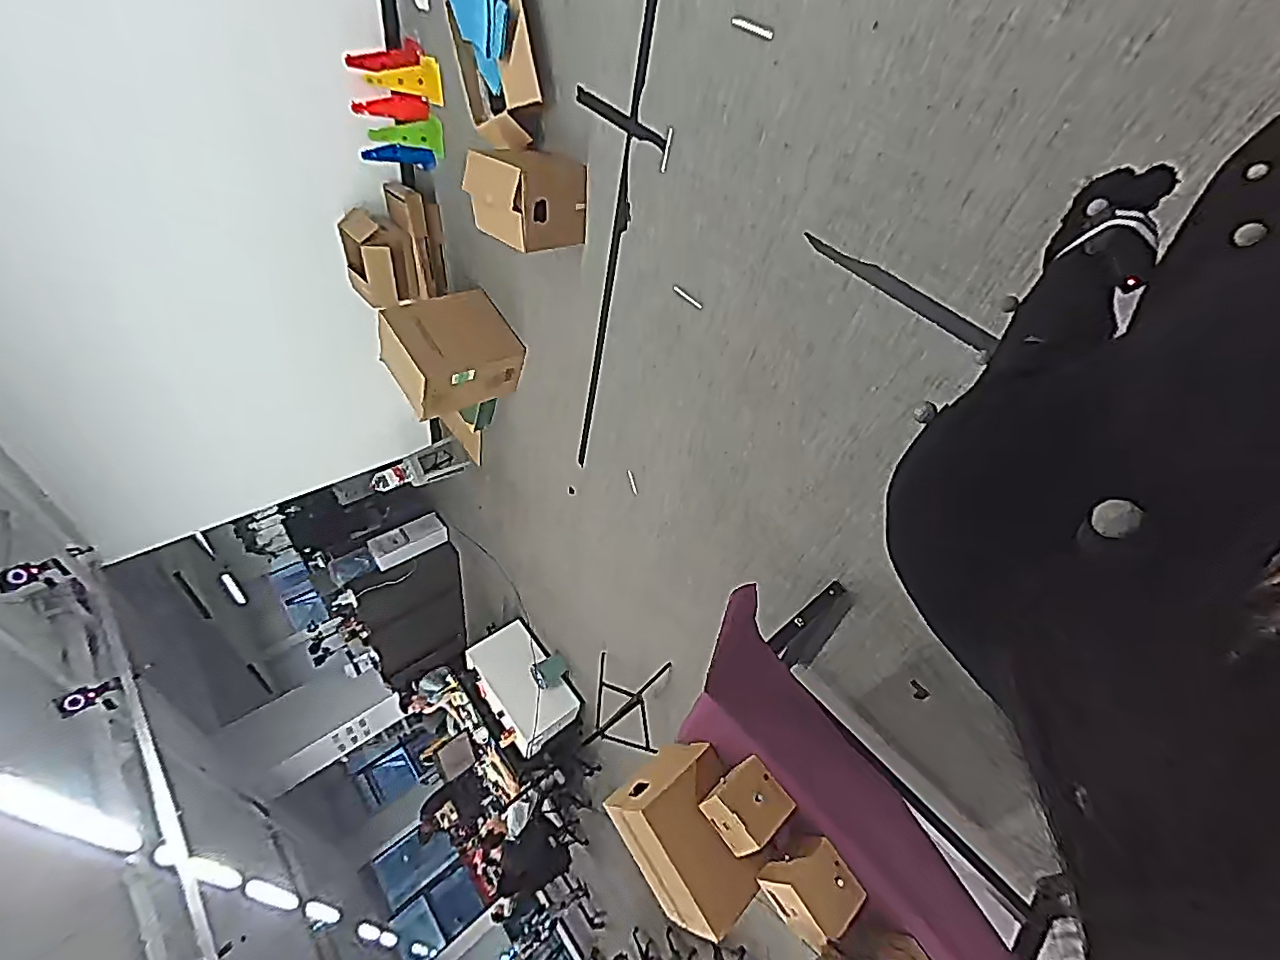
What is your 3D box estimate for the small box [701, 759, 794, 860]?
[{"bbox_3d":[0.307,0.926,1.527,0.168,0.176,0.179,47,144,24],"label":"small box"}]
